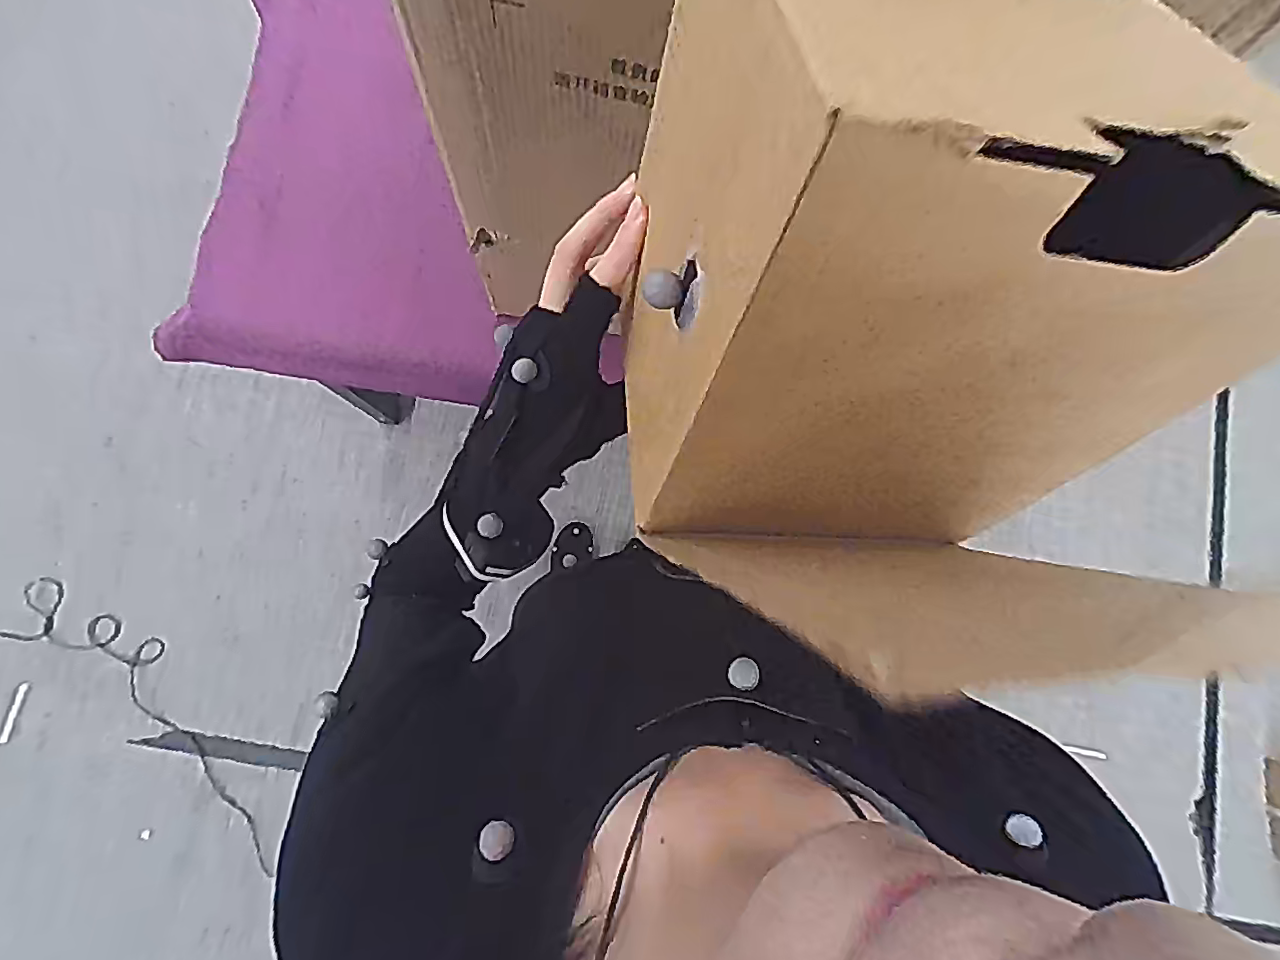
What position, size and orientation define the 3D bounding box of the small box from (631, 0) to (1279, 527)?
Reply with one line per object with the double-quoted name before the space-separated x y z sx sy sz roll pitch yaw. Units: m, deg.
"small box" 0.093 -0.094 0.219 0.168 0.179 0.176 3 59 -12
